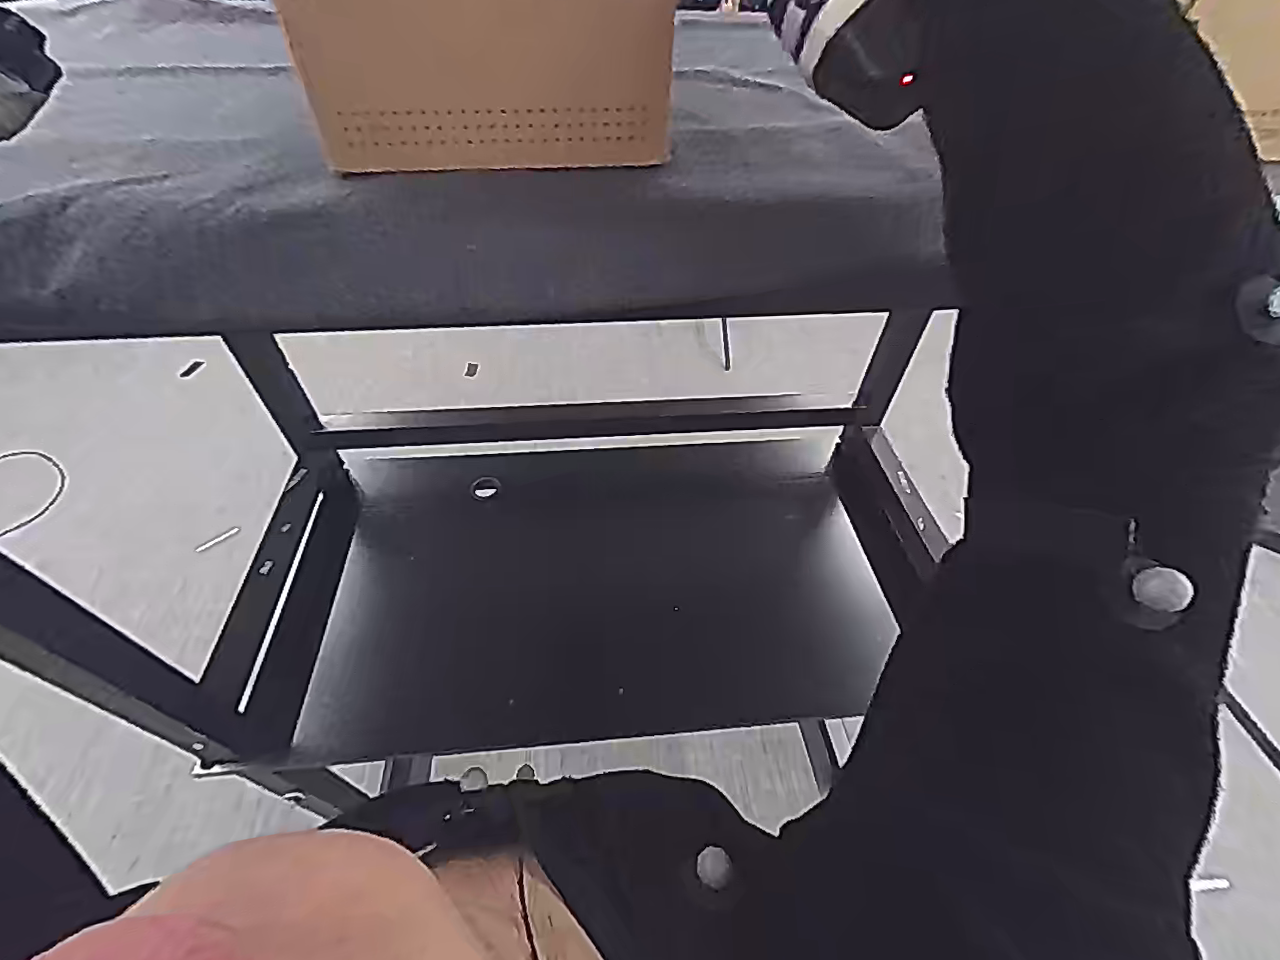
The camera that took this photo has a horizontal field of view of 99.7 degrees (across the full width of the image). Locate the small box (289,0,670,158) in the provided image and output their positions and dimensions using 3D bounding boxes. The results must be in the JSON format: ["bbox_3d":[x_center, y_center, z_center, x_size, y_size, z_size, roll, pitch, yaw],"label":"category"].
[{"bbox_3d":[-0.080,-0.281,0.281,0.179,0.176,0.168,-5,47,-7],"label":"small box"}]
